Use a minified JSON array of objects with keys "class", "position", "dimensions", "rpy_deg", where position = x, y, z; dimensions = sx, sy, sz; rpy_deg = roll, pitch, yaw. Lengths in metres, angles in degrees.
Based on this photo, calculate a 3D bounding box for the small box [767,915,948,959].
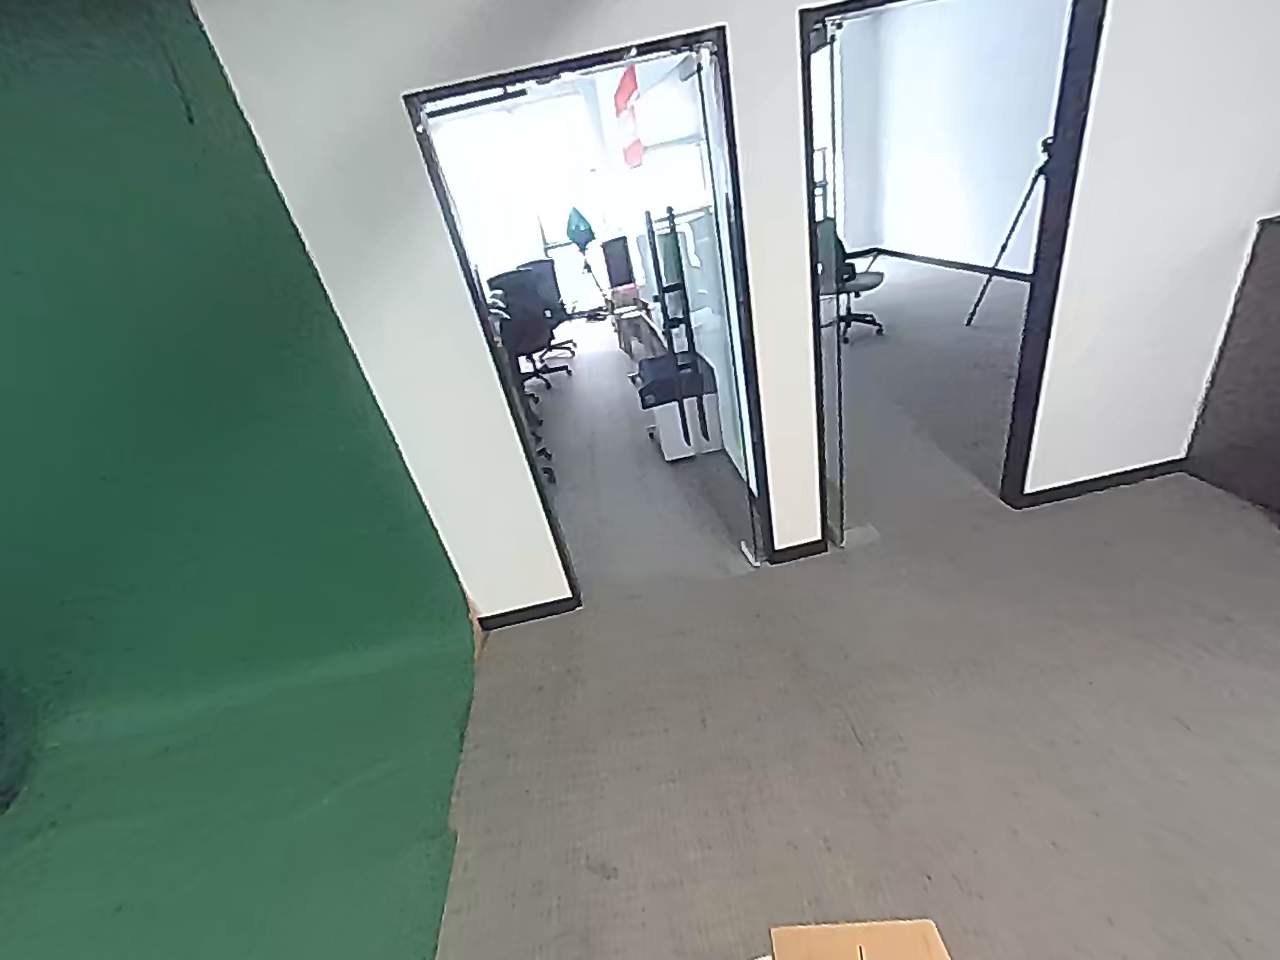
[{"class":"small box","position":[0.217,0.550,0.495],"dimensions":[0.168,0.176,0.179],"rpy_deg":[-7,20,5]}]
